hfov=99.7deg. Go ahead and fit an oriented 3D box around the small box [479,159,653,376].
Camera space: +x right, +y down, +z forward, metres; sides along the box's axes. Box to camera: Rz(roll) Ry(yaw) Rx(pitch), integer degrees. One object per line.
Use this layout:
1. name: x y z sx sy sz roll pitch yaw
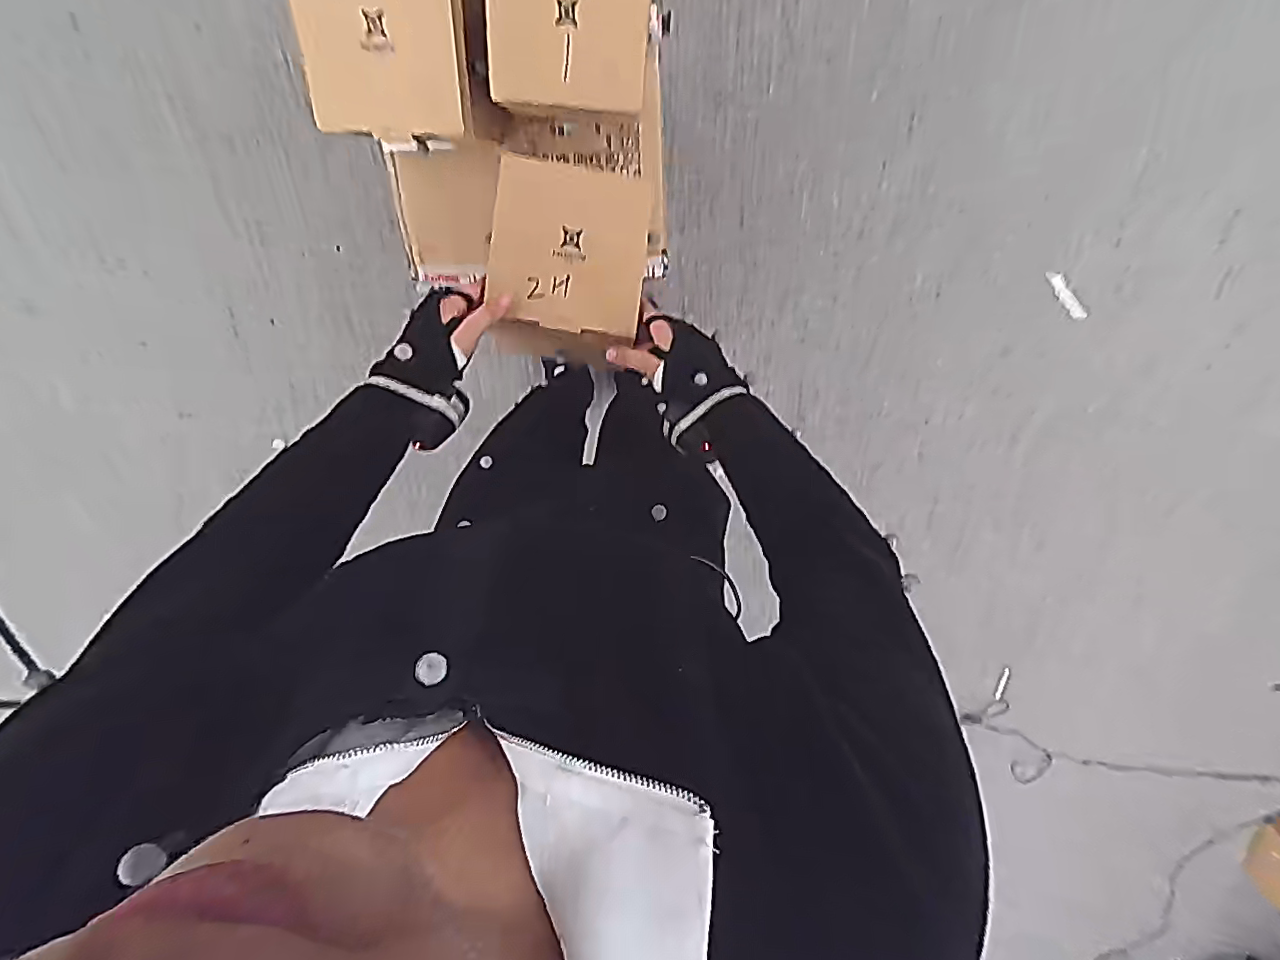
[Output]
1. small box: -0.086 -0.238 0.648 0.168 0.176 0.179 7 88 -6
